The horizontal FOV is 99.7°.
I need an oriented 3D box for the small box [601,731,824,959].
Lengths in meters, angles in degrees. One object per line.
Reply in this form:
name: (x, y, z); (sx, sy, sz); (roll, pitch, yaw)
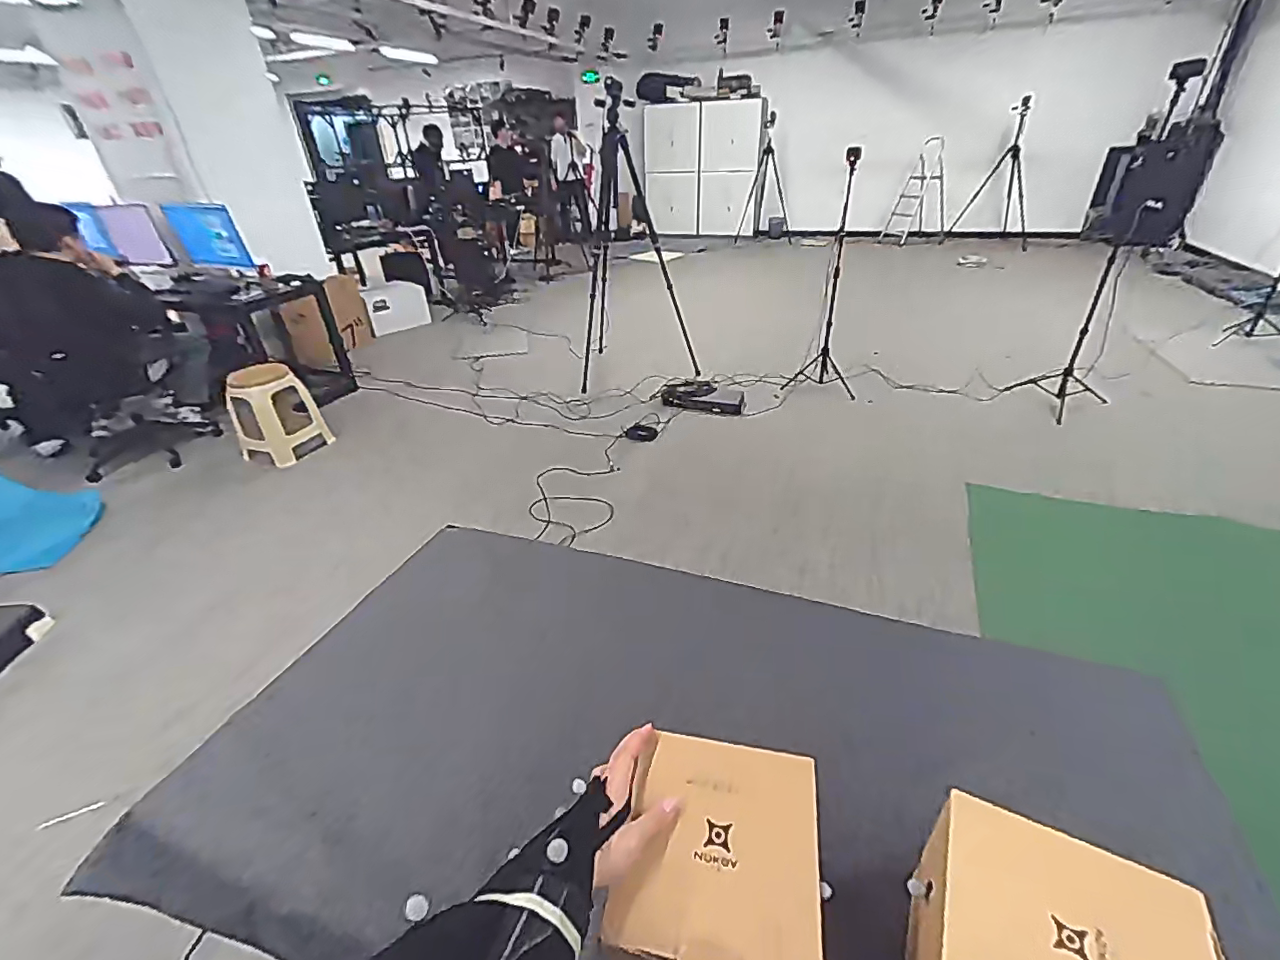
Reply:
small box: (0.071, 0.371, 0.500); (0.168, 0.176, 0.179); (5, 35, 11)

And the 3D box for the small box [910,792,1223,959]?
small box: (0.323, 0.405, 0.434); (0.179, 0.176, 0.168); (14, 35, 25)
